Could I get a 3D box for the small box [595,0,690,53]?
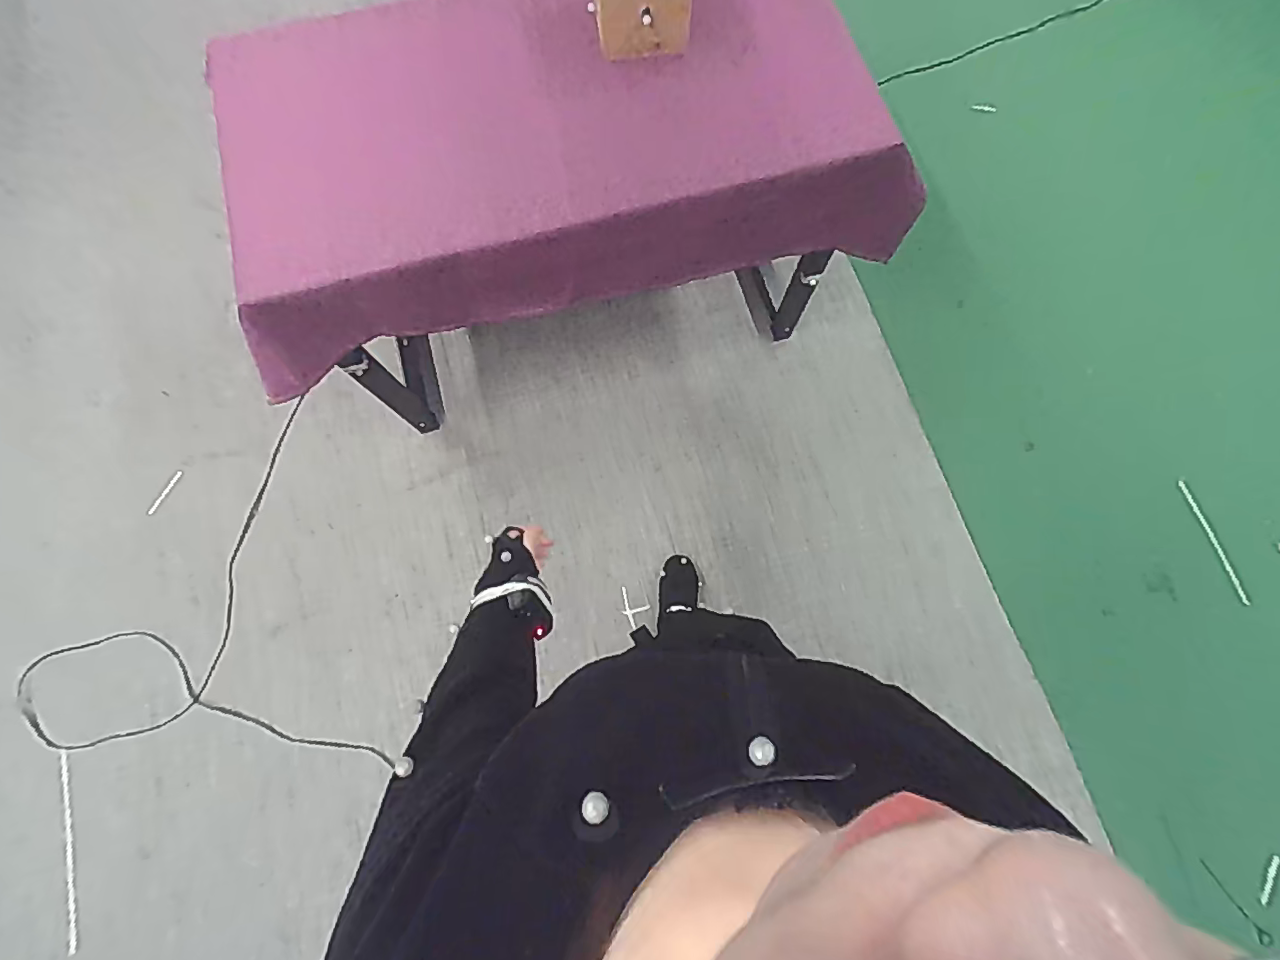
[{"bbox_3d":[0.000,-0.914,0.977,0.168,0.176,0.179,-8,77,-2],"label":"small box"}]
